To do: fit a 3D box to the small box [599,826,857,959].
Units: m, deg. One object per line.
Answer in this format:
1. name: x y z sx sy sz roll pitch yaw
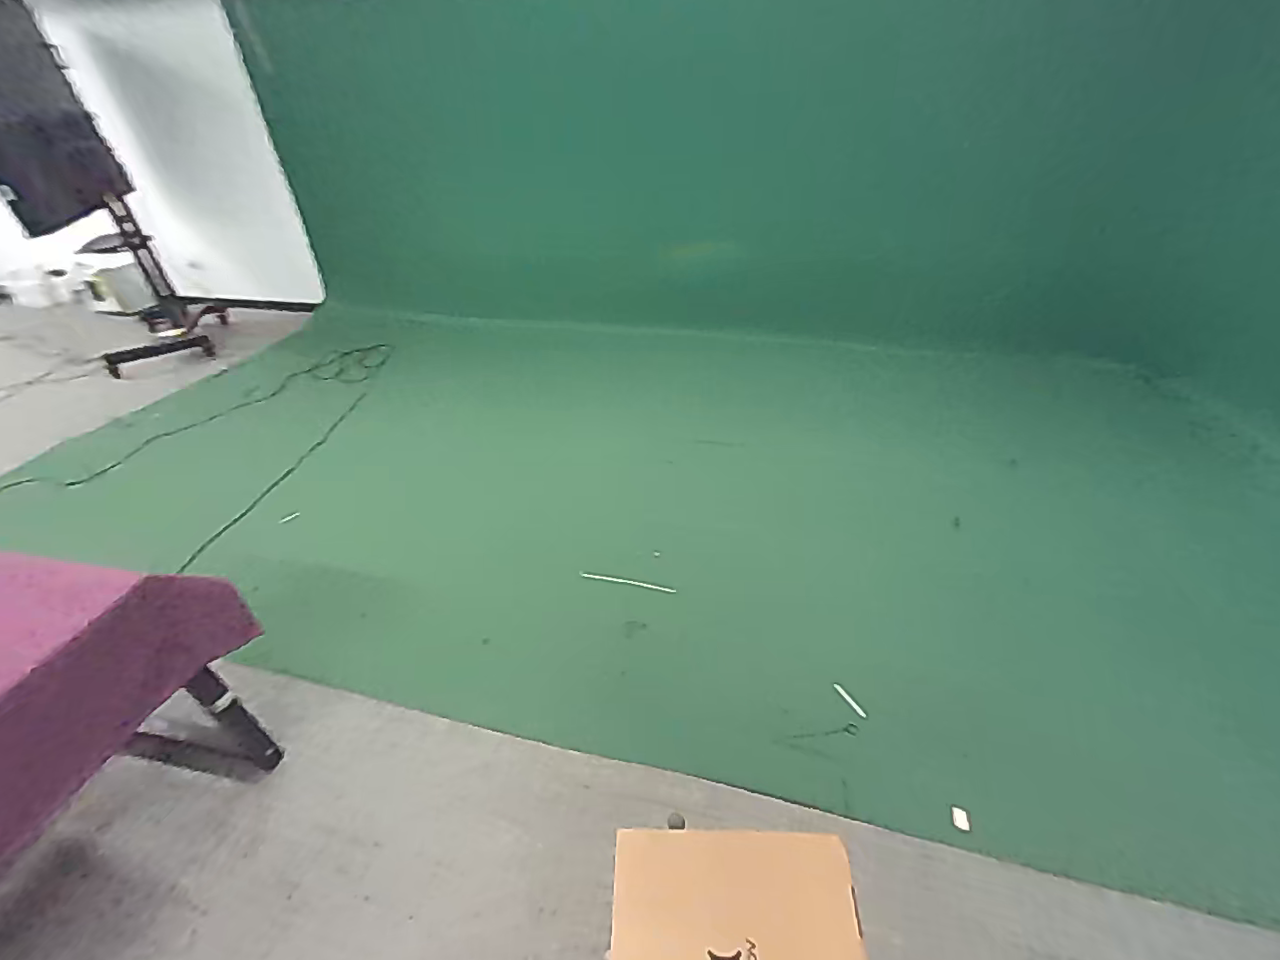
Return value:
1. small box: 0.065 0.380 0.420 0.179 0.176 0.168 -2 50 5
